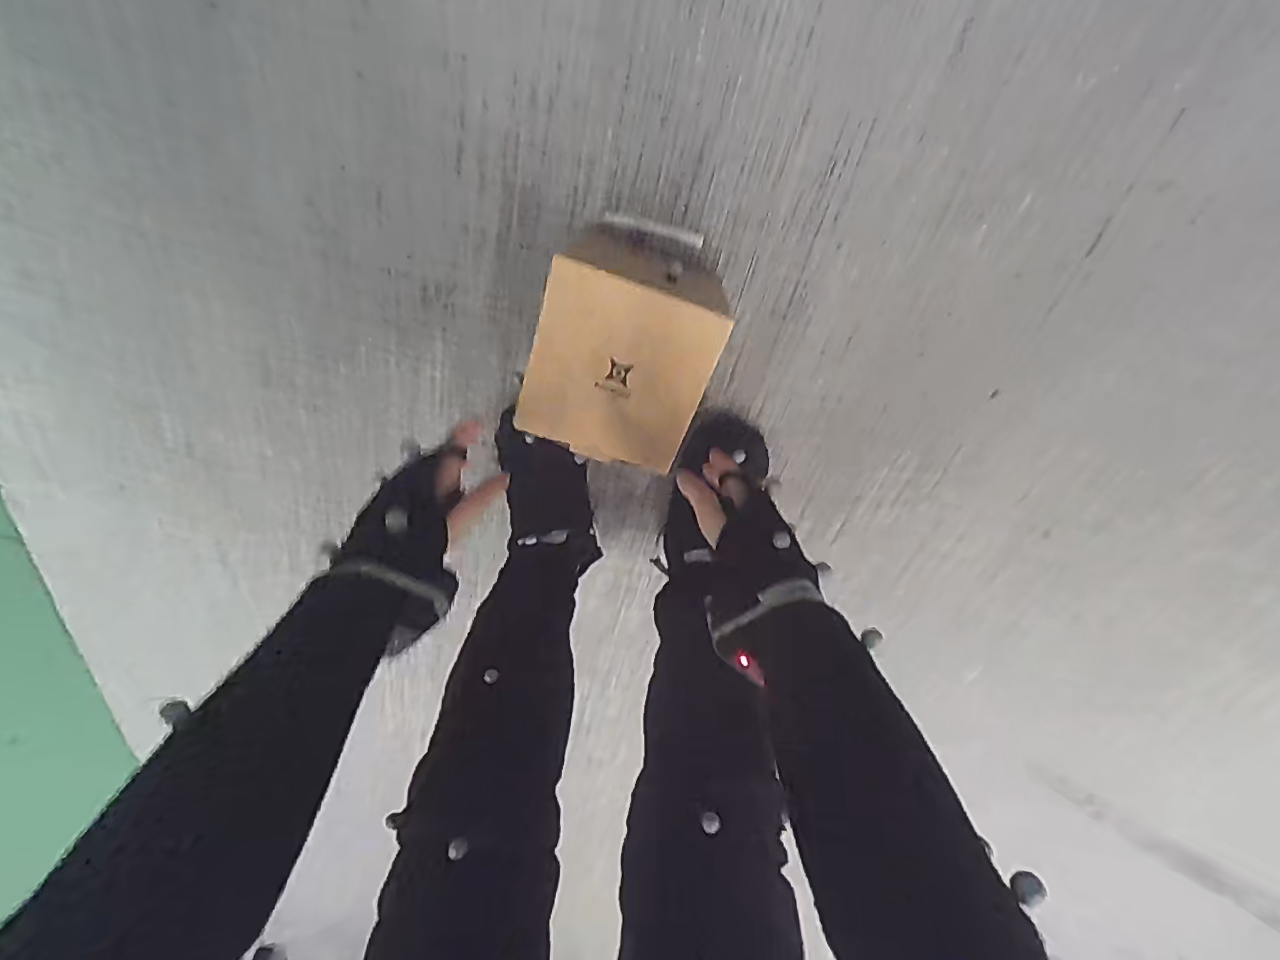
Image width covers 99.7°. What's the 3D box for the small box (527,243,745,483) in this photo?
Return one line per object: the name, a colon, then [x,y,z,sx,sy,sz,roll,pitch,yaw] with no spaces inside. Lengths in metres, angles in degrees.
small box: [-0.007,-0.132,0.581,0.168,0.176,0.179,19,122,-8]
